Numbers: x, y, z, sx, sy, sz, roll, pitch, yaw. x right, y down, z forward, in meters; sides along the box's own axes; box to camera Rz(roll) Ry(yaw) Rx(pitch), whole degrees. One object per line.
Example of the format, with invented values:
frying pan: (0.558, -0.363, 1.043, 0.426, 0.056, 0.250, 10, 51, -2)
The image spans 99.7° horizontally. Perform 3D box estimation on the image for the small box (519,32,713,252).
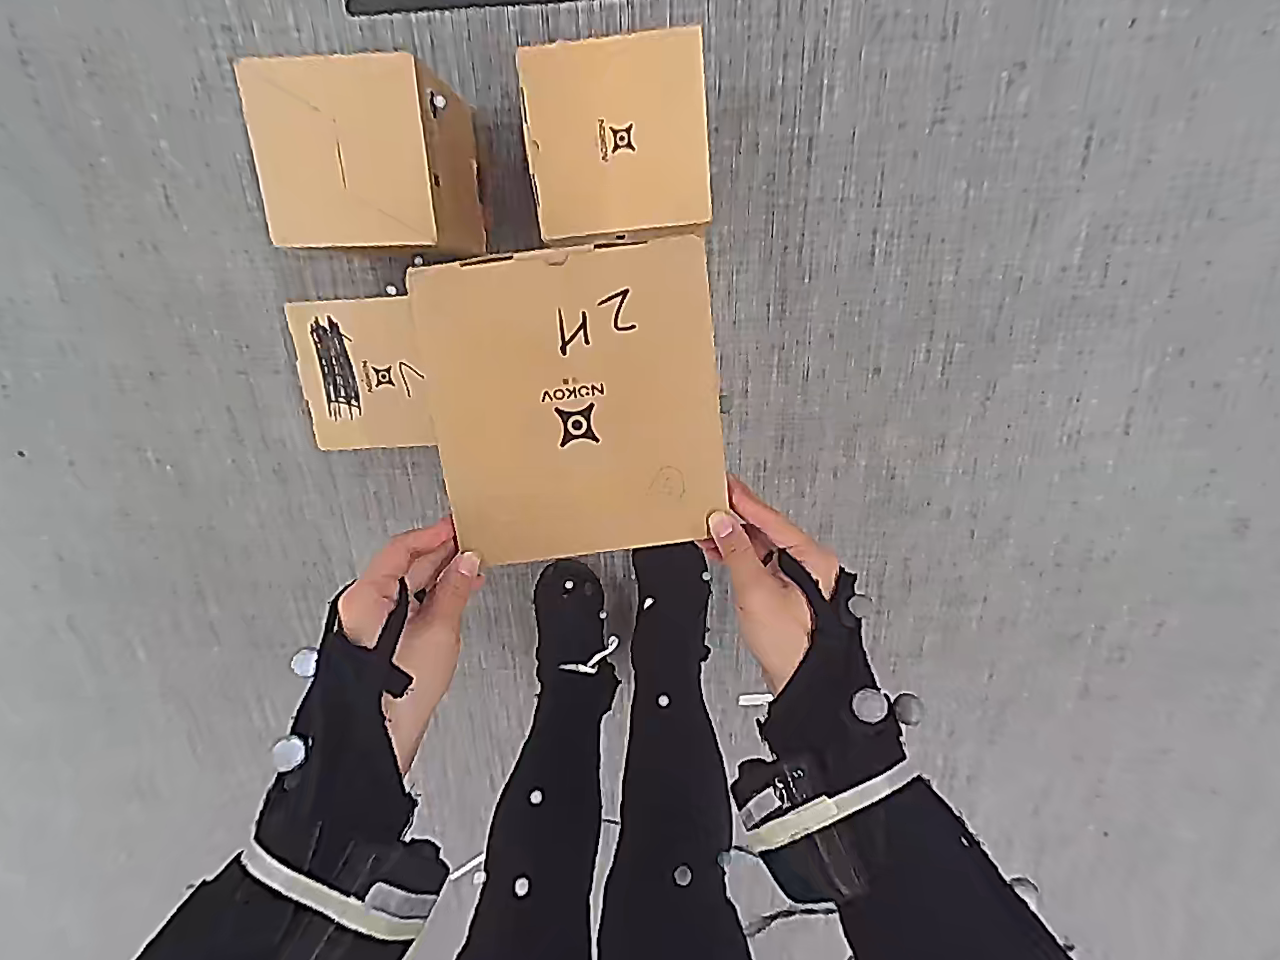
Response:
small box: (-0.018, -0.352, 0.598, 0.179, 0.176, 0.168, -5, 109, 4)

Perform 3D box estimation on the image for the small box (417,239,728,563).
small box: (-0.036, -0.057, 0.394, 0.168, 0.176, 0.179, -7, 101, -1)

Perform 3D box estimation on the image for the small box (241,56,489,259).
small box: (-0.287, -0.342, 0.604, 0.179, 0.176, 0.168, 0, 108, 2)
